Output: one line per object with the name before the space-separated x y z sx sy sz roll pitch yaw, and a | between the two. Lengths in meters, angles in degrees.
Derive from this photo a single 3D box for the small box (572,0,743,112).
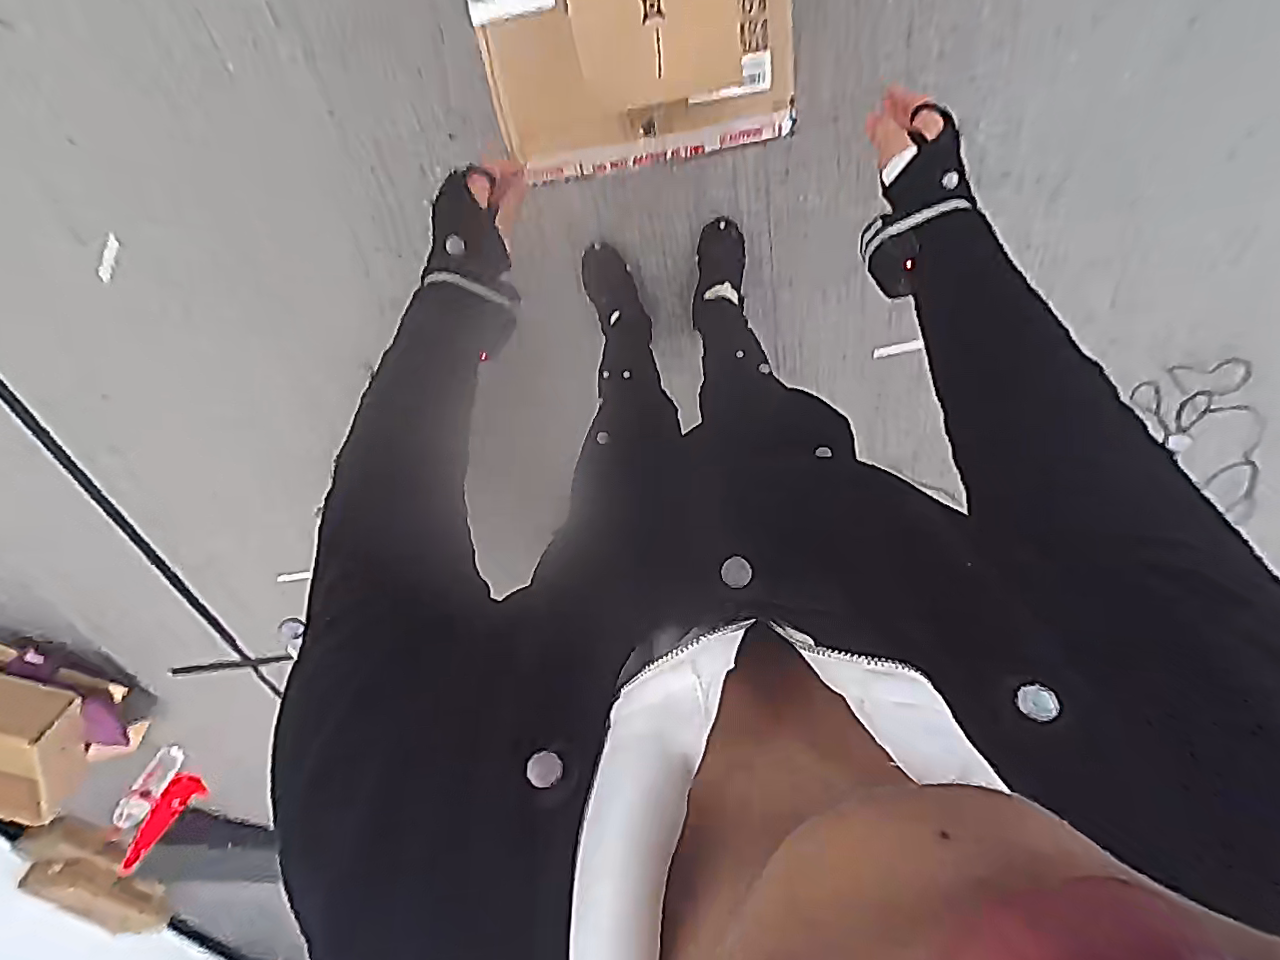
small box | 0.013 -0.521 0.588 0.168 0.176 0.179 -9 127 6
